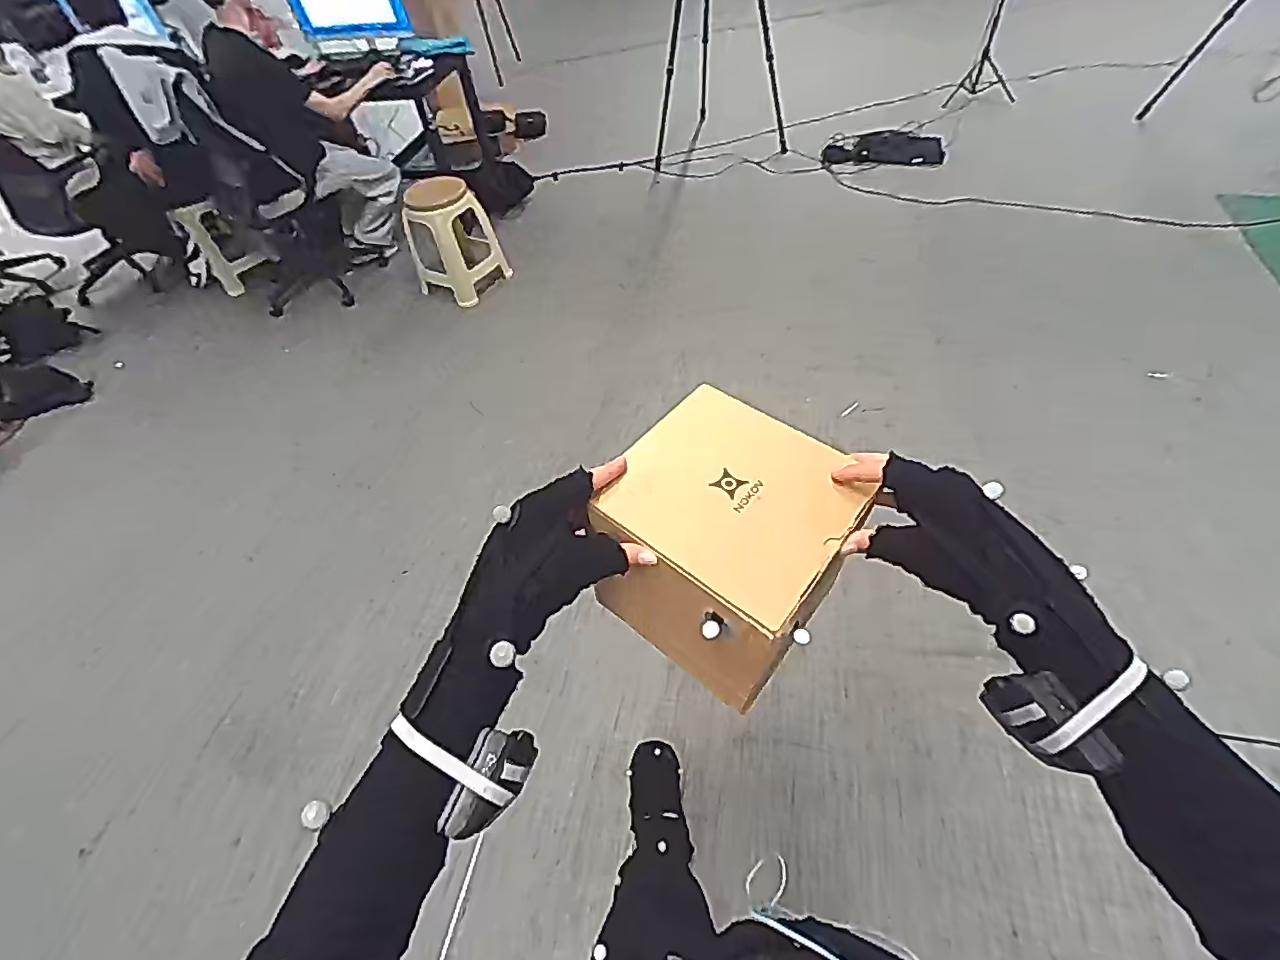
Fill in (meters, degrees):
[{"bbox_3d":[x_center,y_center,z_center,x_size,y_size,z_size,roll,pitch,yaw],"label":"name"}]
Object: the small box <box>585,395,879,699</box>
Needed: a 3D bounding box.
[{"bbox_3d":[0.070,0.061,0.484,0.179,0.176,0.168,35,58,24],"label":"small box"}]
